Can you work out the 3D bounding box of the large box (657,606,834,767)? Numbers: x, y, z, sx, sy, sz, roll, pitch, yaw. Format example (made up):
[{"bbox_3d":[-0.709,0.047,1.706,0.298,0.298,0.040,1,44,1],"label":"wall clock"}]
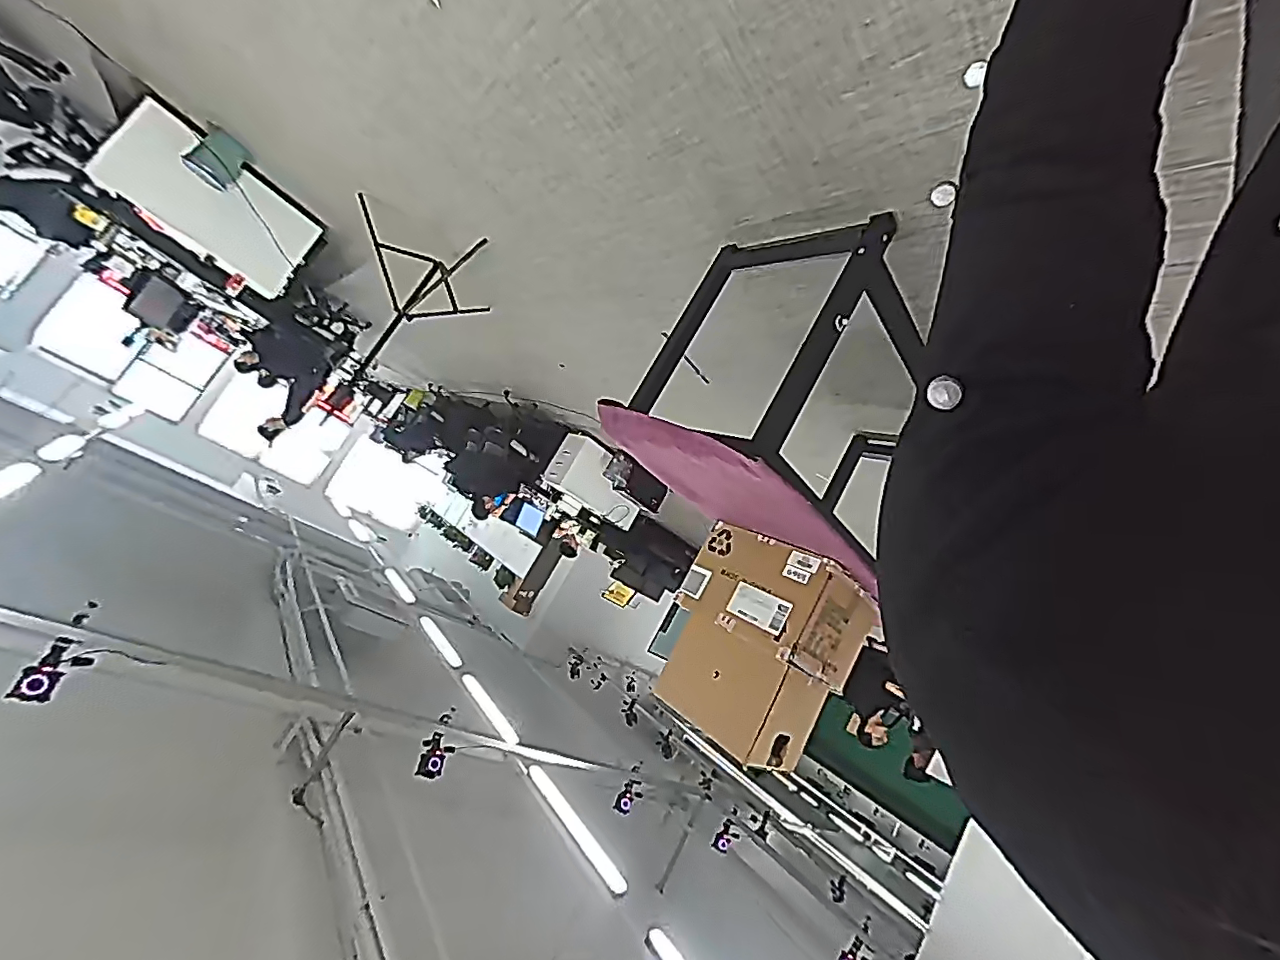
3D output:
[{"bbox_3d":[0.337,0.655,1.756,0.320,0.320,0.408,33,170,-39],"label":"large box"}]
